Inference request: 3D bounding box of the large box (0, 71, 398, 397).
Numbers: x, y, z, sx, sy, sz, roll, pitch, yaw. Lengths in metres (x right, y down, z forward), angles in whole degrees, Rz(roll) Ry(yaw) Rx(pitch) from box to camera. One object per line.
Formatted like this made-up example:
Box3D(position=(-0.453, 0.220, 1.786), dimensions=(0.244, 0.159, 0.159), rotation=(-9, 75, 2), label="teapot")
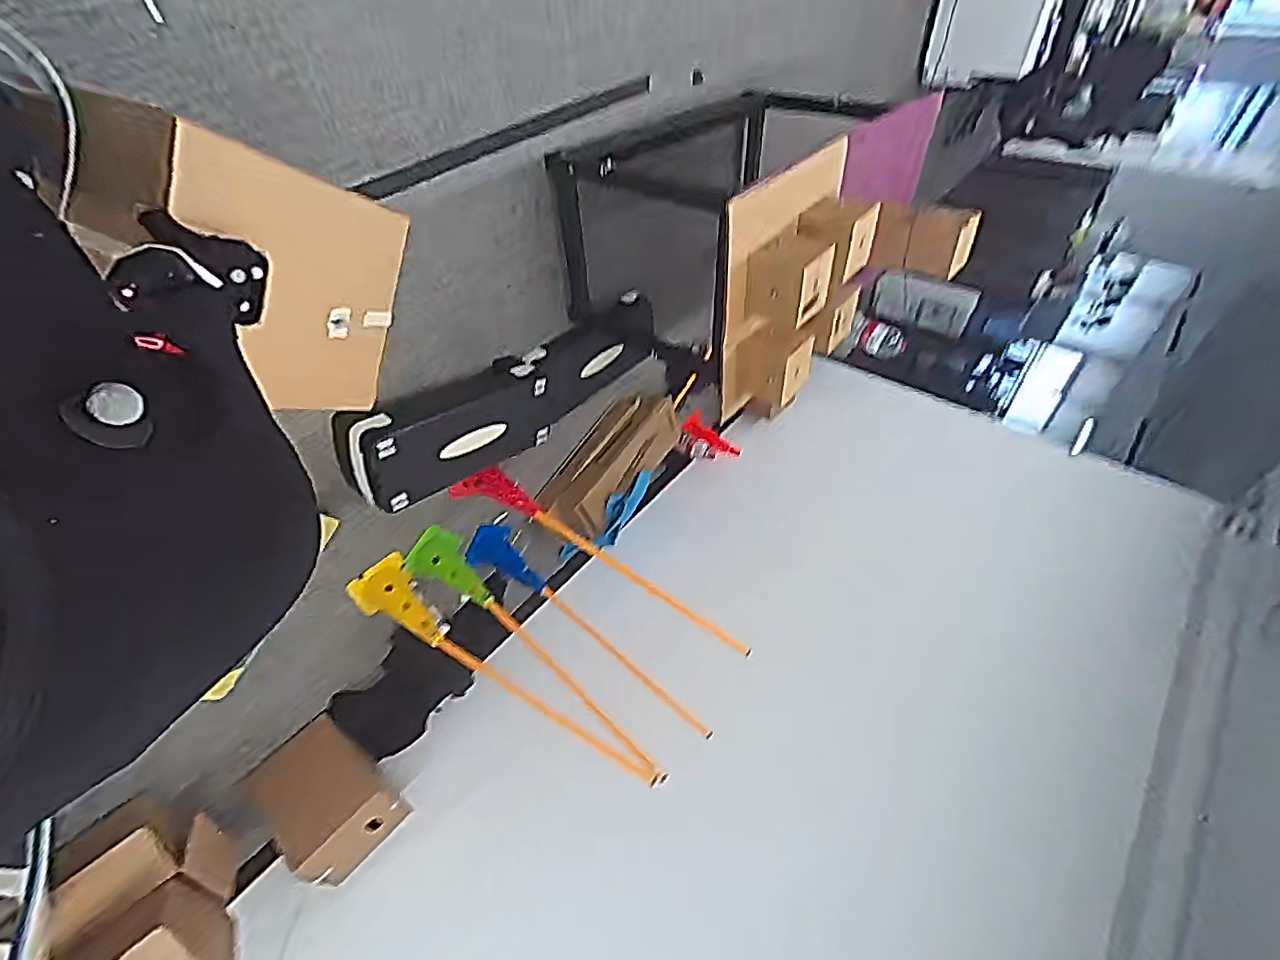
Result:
Box3D(position=(-0.632, -0.326, 0.788), dimensions=(0.320, 0.408, 0.320), rotation=(-16, 127, -65), label="large box")
